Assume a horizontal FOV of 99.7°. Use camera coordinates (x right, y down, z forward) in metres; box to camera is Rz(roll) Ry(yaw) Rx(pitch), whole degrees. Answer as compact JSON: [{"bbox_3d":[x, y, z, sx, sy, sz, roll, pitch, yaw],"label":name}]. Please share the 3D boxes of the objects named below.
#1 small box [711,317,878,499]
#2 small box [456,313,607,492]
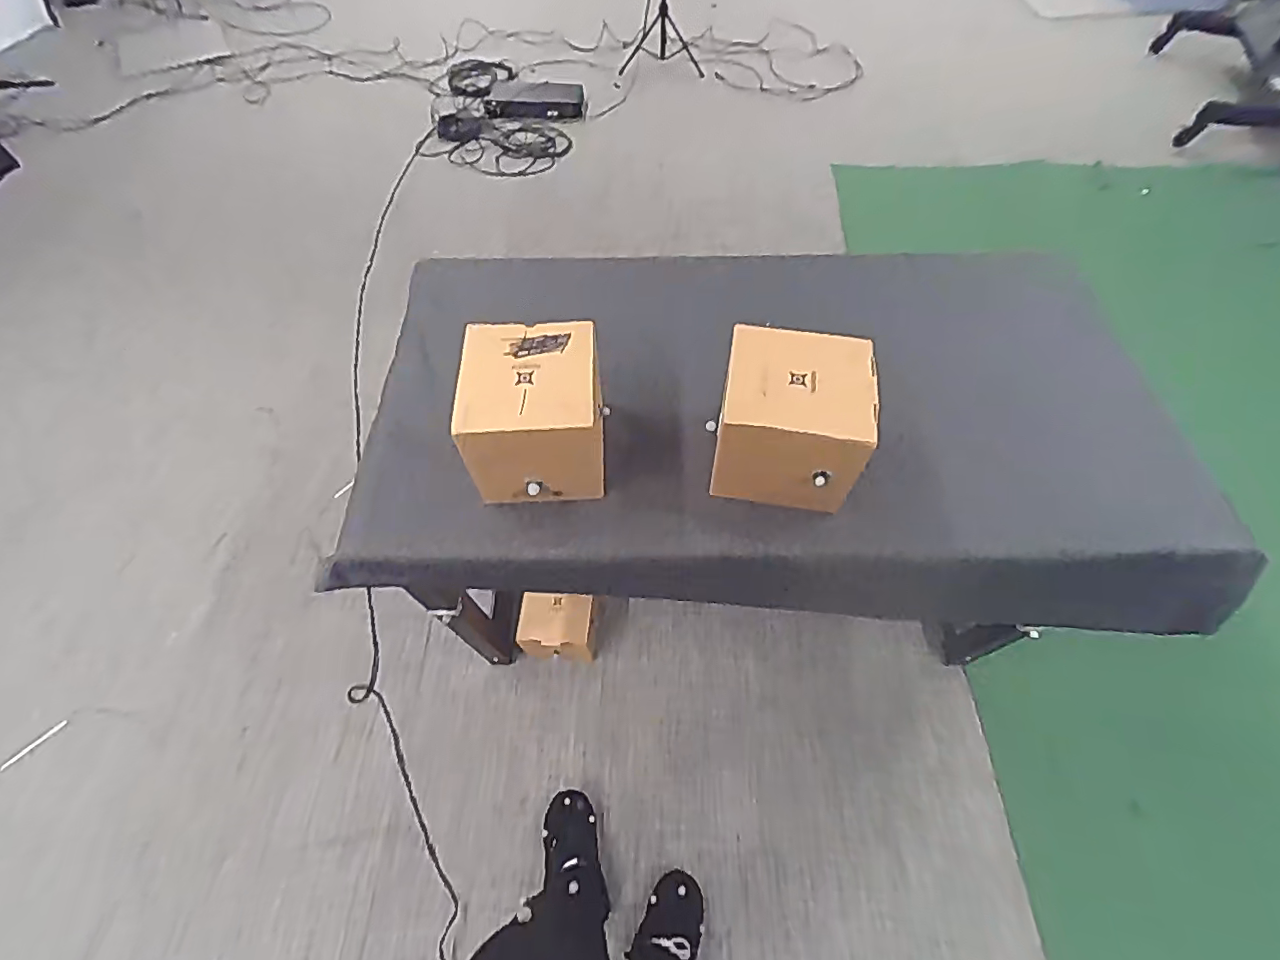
[{"bbox_3d":[0.197,-0.089,0.723,0.179,0.176,0.168,8,59,6],"label":"small box"},{"bbox_3d":[-0.132,-0.101,0.729,0.168,0.176,0.179,-3,59,-1],"label":"small box"}]
